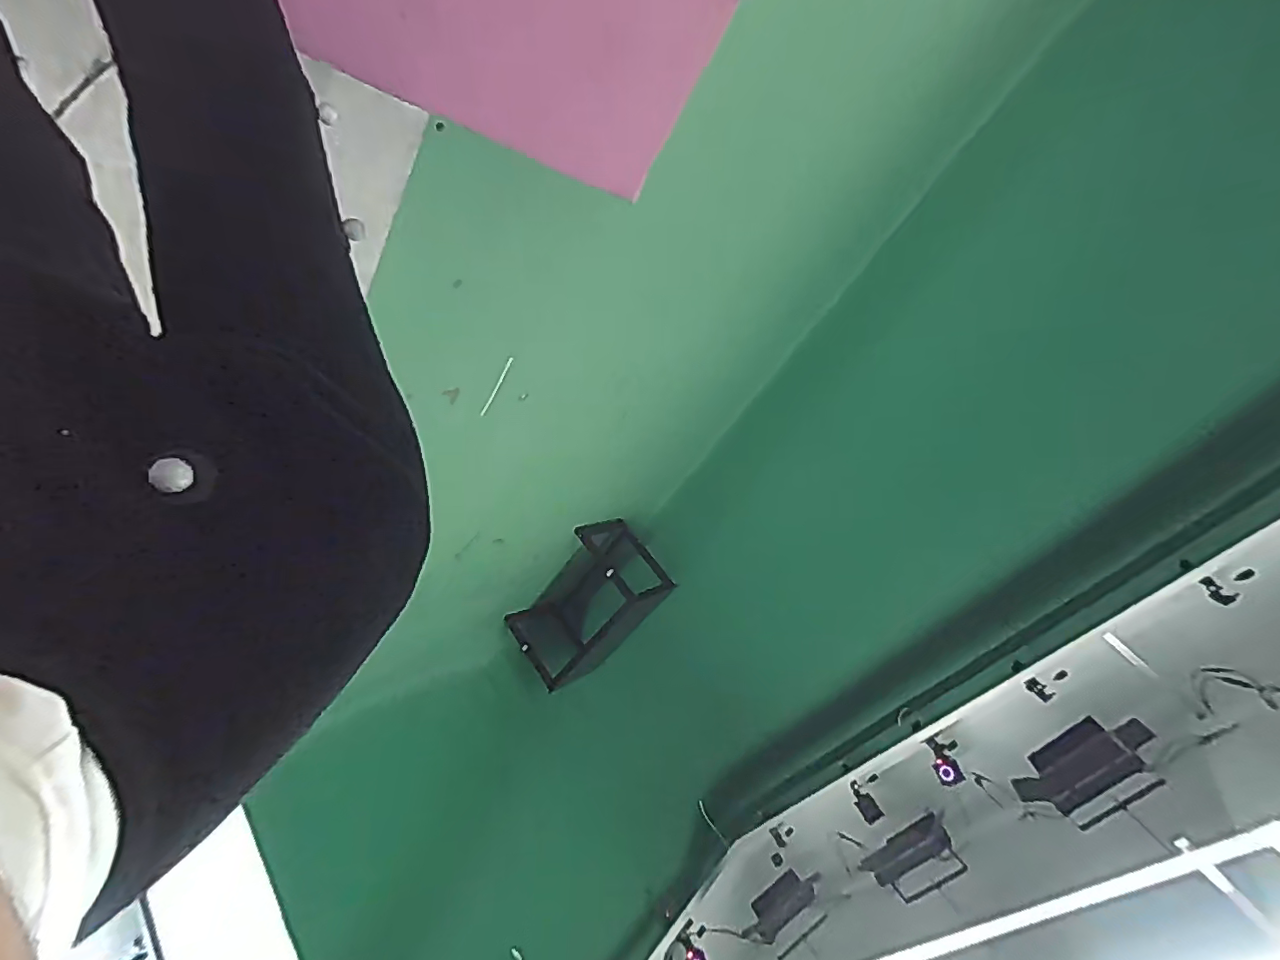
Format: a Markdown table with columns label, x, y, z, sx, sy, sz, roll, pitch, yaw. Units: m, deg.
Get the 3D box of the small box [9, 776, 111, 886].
| label | x | y | z | sx | sy | sz | roll | pitch | yaw |
| --- | --- | --- | --- | --- | --- | --- | --- | --- | --- |
| small box | -1.628 | 0.974 | 1.515 | 0.179 | 0.176 | 0.168 | -51 | 157 | 25 |
